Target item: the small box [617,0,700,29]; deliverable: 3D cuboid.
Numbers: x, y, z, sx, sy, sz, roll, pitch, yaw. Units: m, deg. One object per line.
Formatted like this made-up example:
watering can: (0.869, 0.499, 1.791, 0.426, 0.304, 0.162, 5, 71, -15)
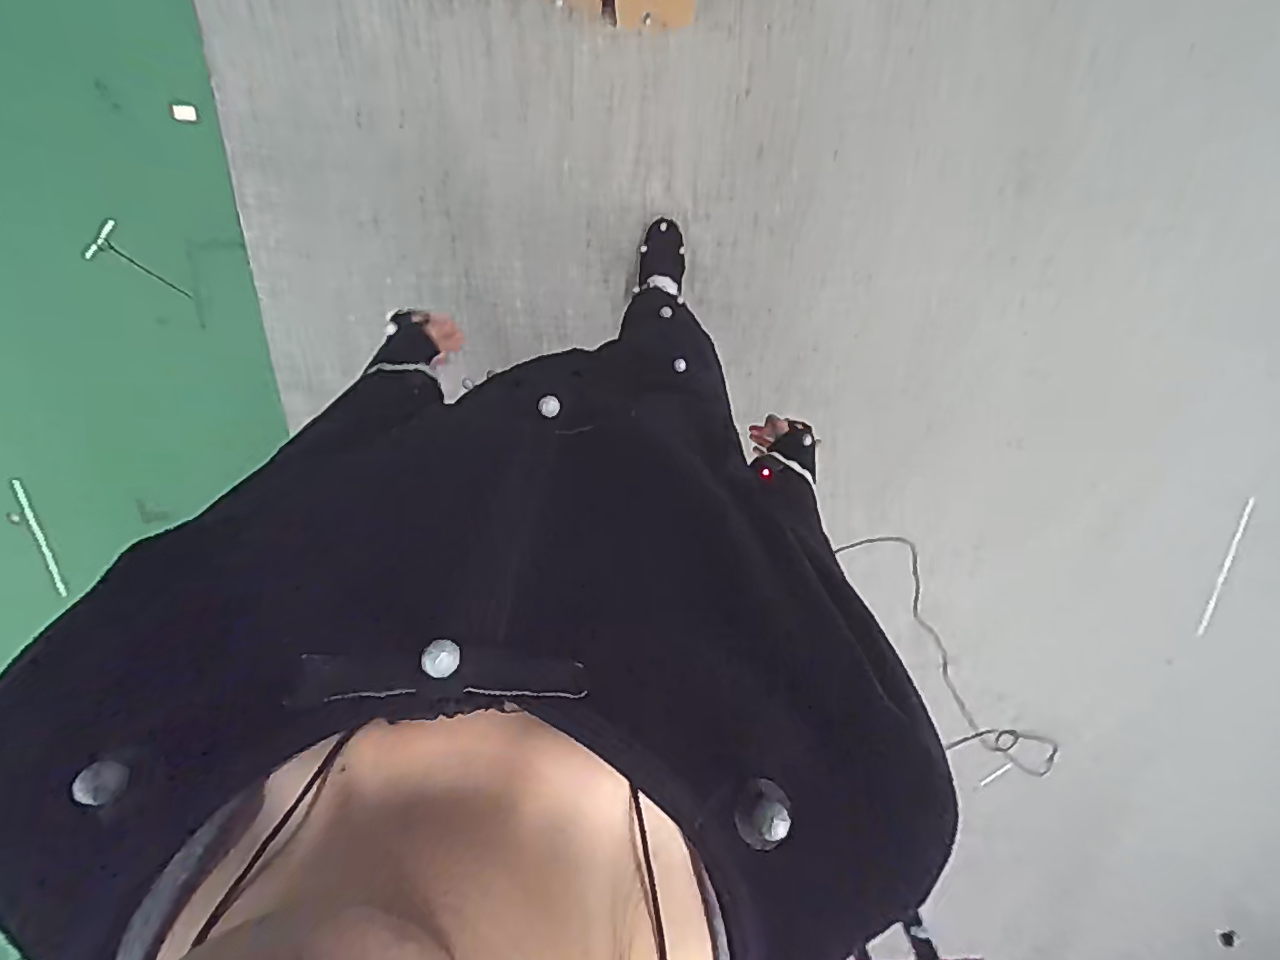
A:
small box: (0.037, -1.041, 1.072, 0.168, 0.176, 0.179, 0, 111, -1)
